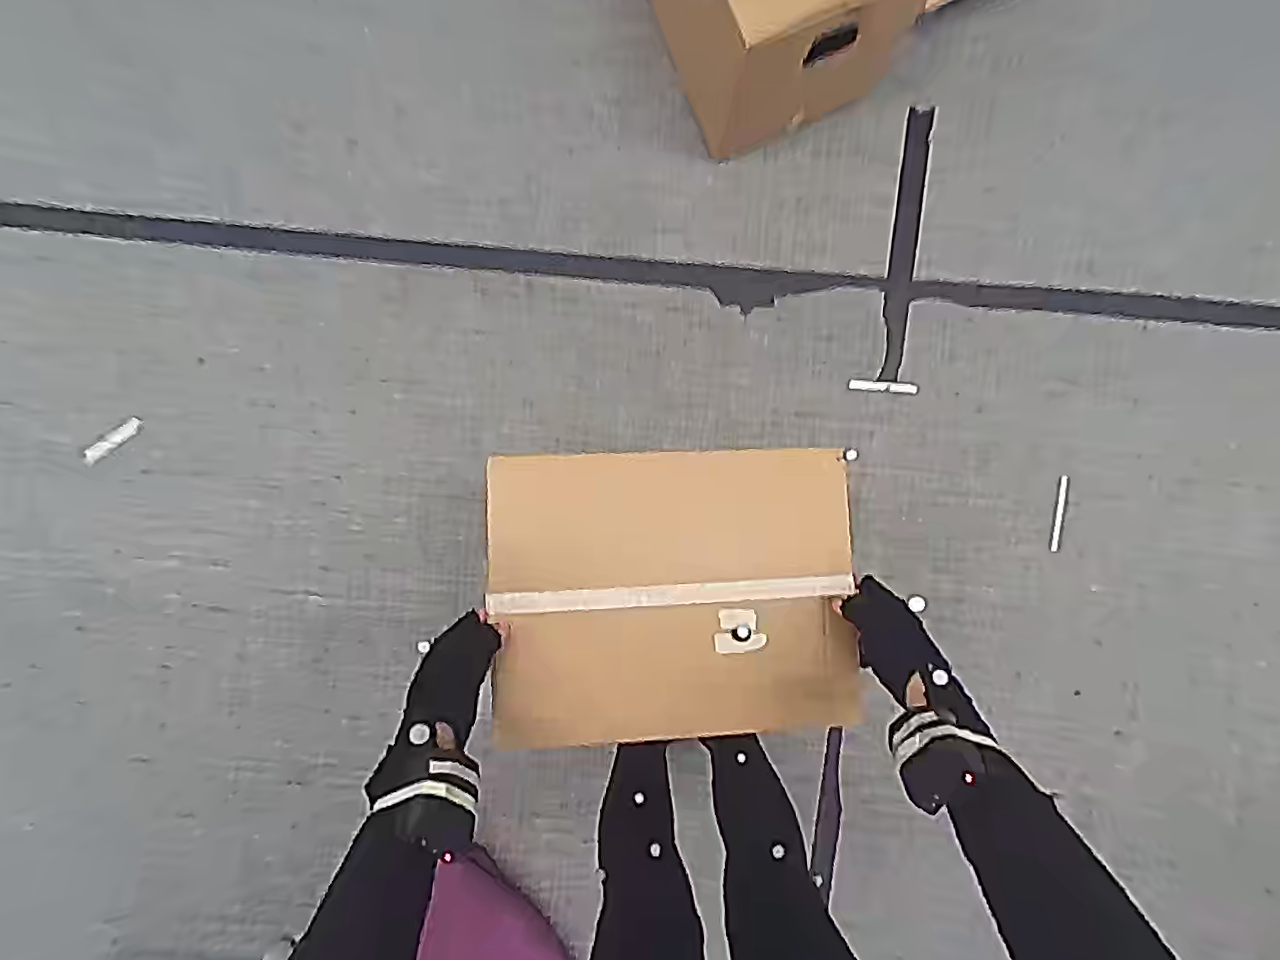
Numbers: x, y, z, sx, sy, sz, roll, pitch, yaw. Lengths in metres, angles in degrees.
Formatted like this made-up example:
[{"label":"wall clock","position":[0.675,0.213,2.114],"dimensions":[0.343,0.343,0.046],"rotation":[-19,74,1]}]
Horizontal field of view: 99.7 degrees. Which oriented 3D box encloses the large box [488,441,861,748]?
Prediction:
[{"label":"large box","position":[0.025,0.130,0.739],"dimensions":[0.408,0.320,0.320],"rotation":[-2,86,-6]}]
